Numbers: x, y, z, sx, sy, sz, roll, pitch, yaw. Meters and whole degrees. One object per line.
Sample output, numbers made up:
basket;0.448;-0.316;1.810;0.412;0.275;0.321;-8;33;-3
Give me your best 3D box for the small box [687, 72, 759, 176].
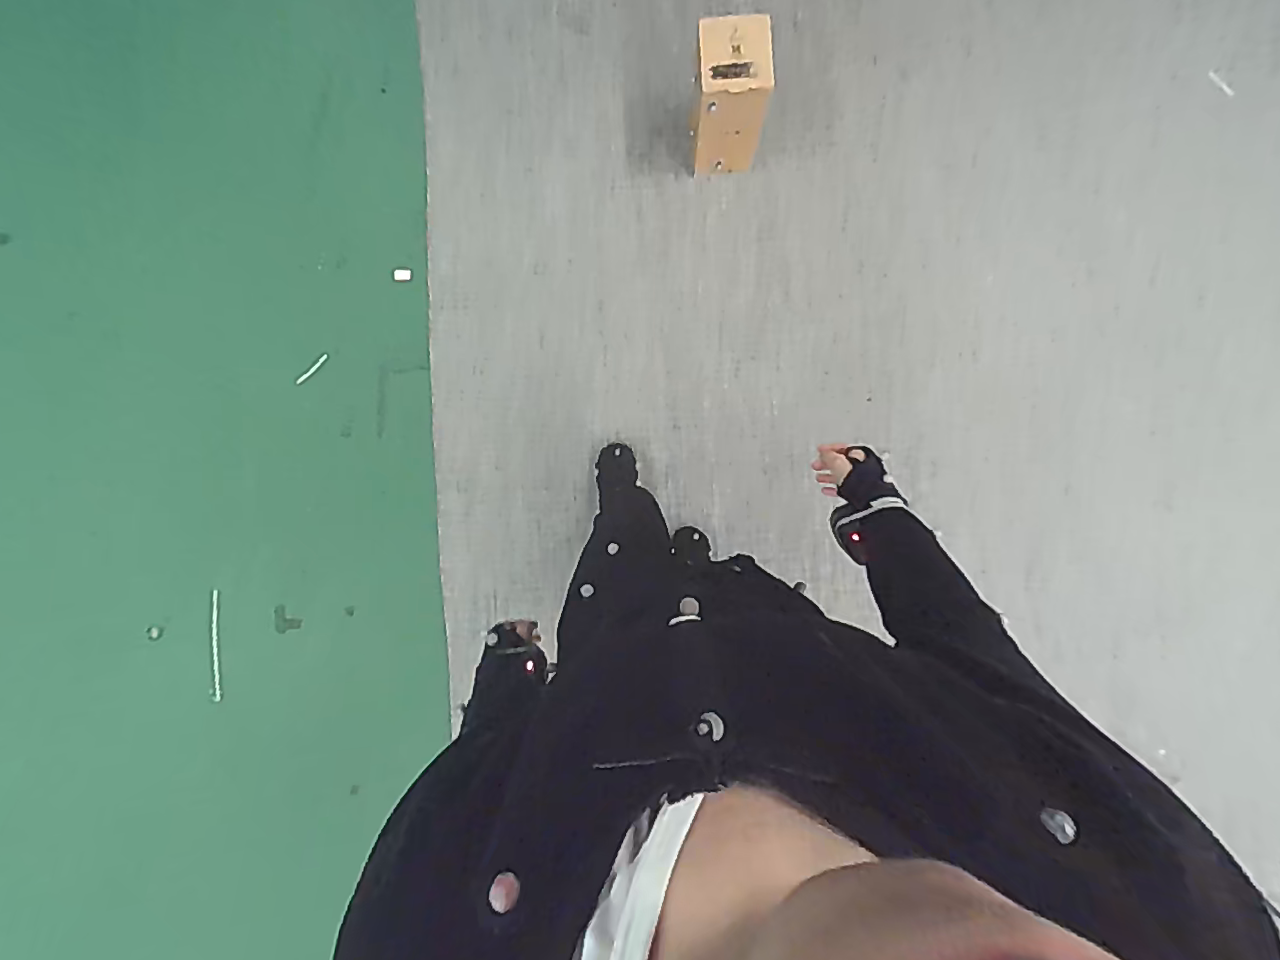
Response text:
small box;0.222;-0.967;1.479;0.168;0.176;0.179;-4;88;0
